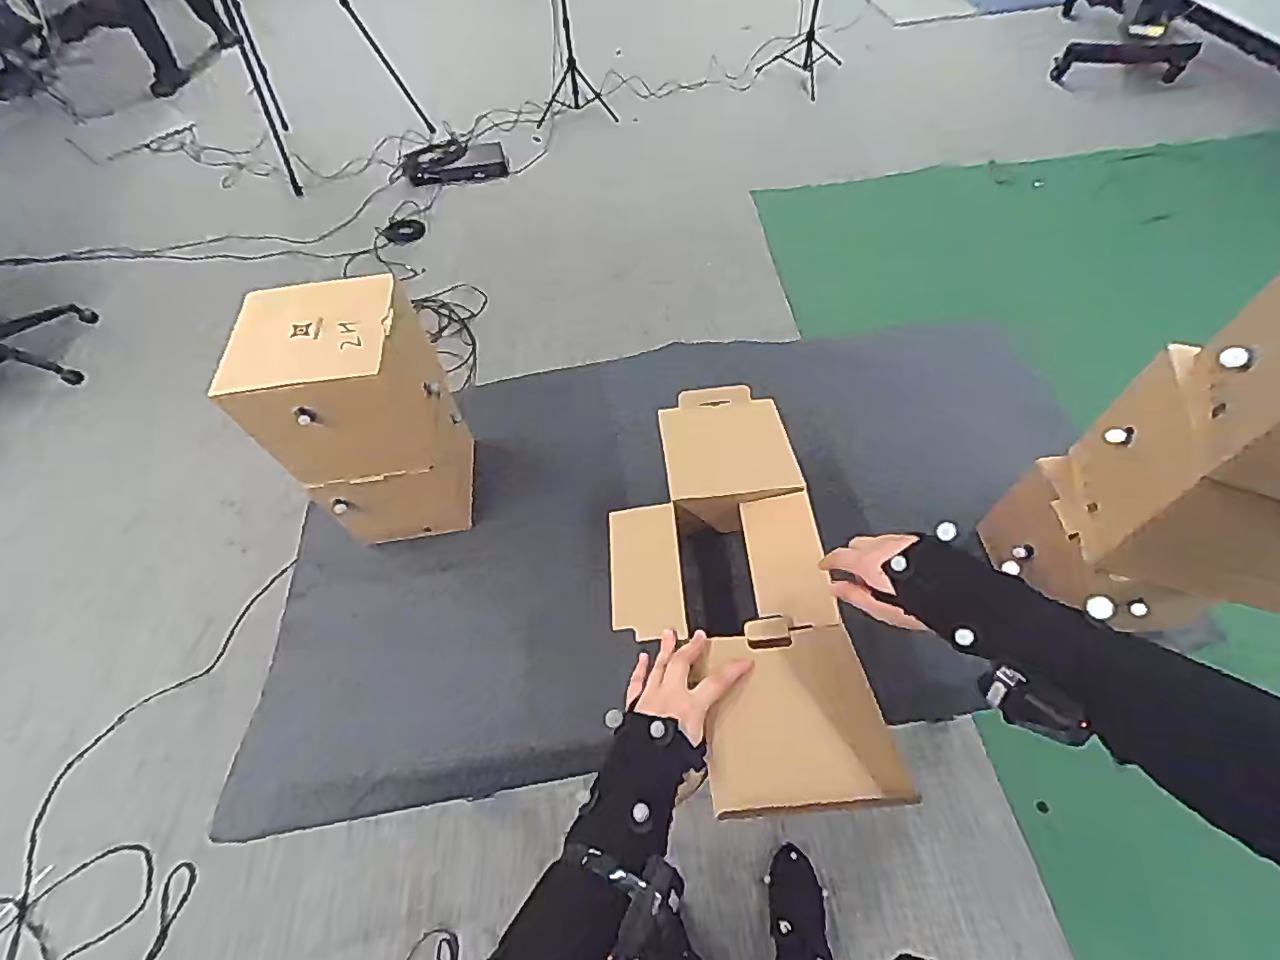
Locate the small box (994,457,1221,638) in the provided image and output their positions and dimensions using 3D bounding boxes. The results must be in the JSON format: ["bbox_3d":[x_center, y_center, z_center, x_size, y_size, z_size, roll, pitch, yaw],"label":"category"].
[{"bbox_3d":[0.571,0.085,0.659,0.179,0.176,0.168,-4,54,3],"label":"small box"}]

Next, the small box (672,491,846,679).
[{"bbox_3d":[0.131,0.136,0.663,0.168,0.176,0.179,-6,55,0],"label":"small box"}]

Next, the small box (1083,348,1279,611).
[{"bbox_3d":[0.565,0.004,0.516,0.179,0.176,0.168,14,57,13],"label":"small box"}]

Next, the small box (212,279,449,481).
[{"bbox_3d":[-0.353,-0.113,0.656,0.179,0.176,0.168,-8,58,-2],"label":"small box"}]

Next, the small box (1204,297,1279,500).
[{"bbox_3d":[0.556,-0.072,0.368,0.179,0.176,0.168,23,59,19],"label":"small box"}]
